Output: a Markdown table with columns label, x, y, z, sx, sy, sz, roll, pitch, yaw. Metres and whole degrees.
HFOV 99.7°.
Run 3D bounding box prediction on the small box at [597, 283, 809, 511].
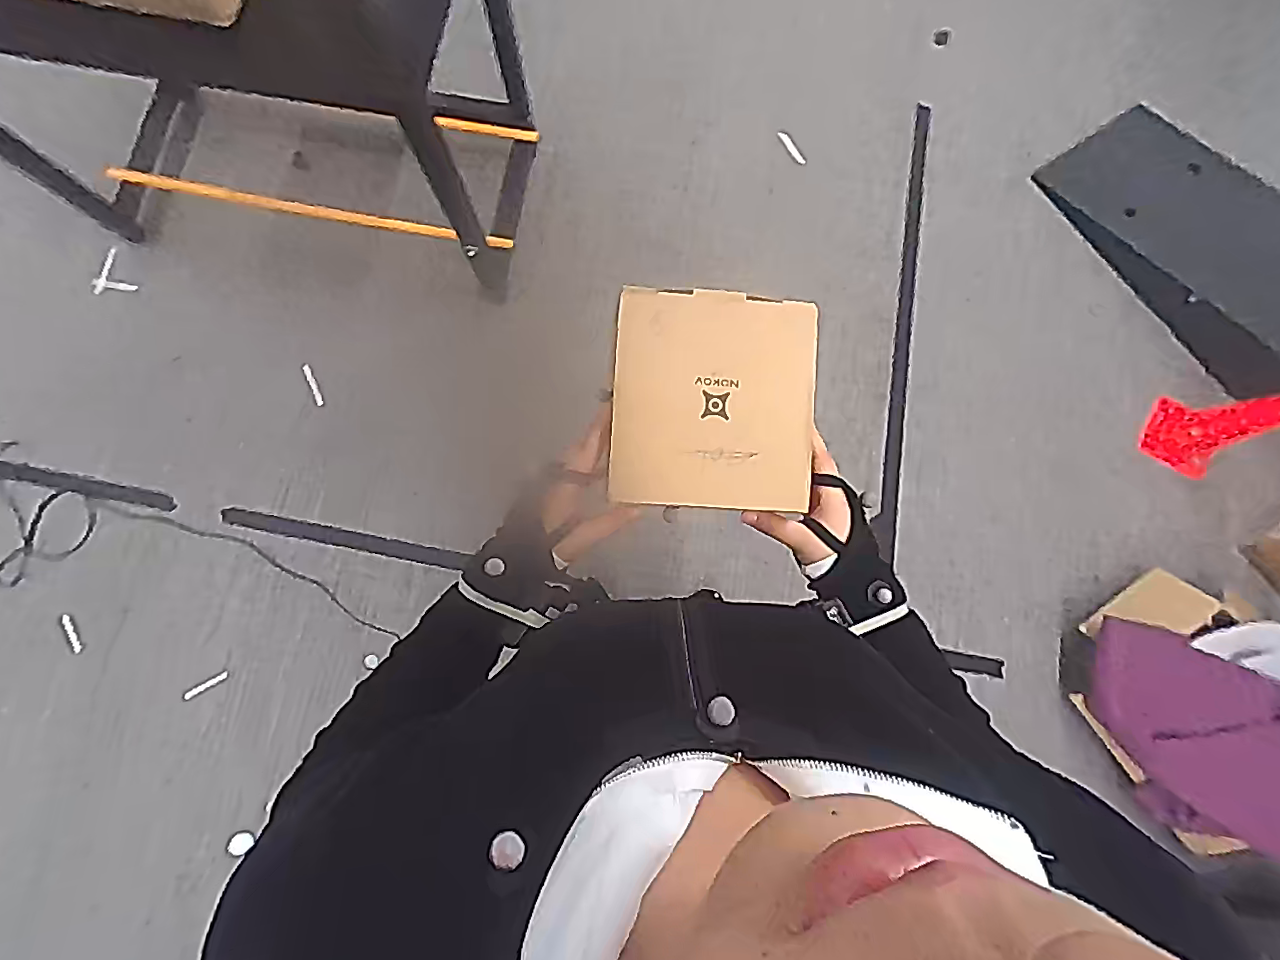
| label | x | y | z | sx | sy | sz | roll | pitch | yaw |
| --- | --- | --- | --- | --- | --- | --- | --- | --- | --- |
| small box | 0.046 | -0.062 | 0.512 | 0.168 | 0.176 | 0.179 | 3 | 88 | -5 |
